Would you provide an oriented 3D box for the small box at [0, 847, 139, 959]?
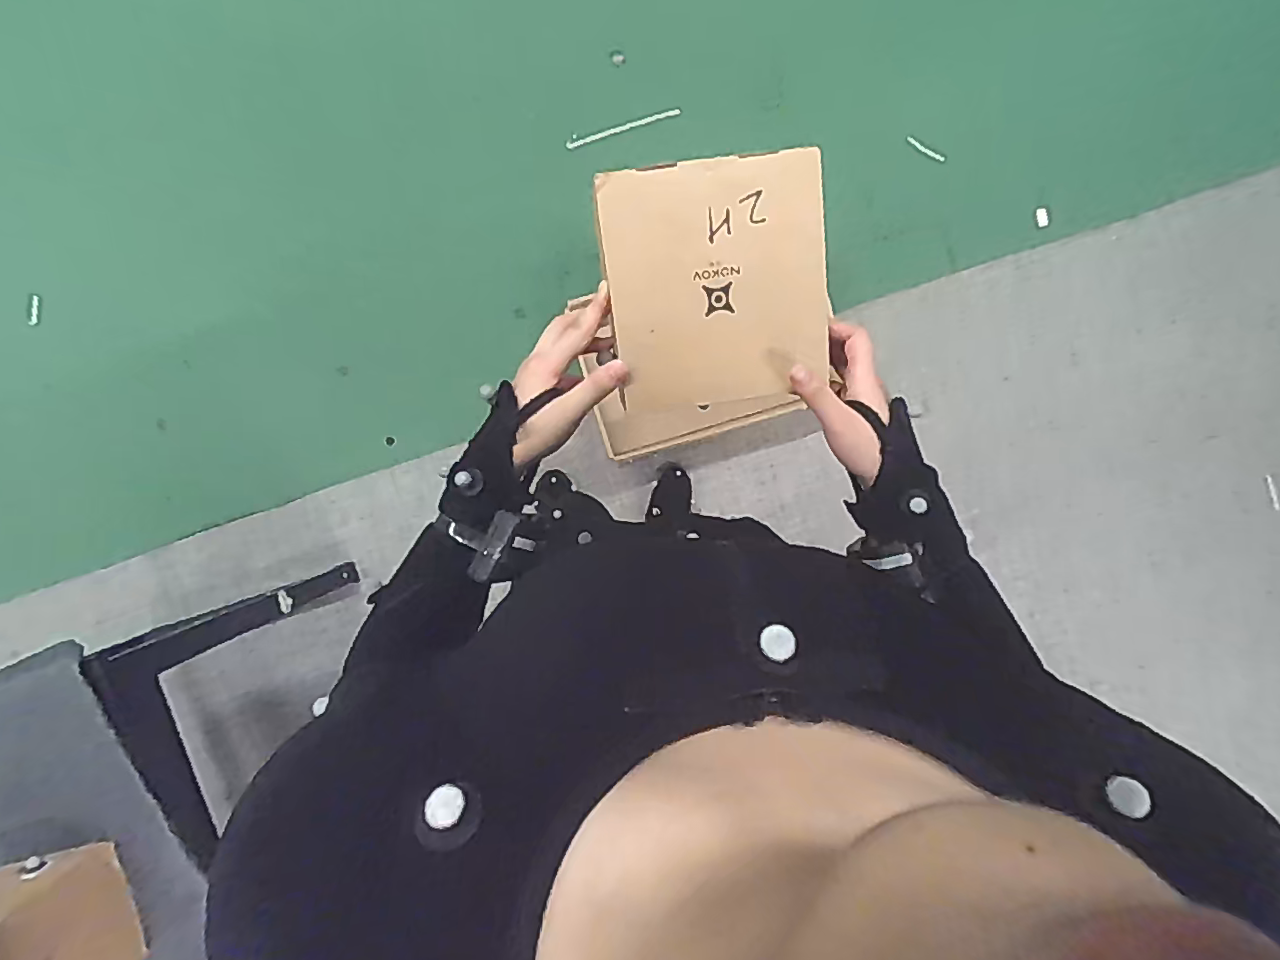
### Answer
[{"bbox_3d":[-0.774,0.601,0.658,0.168,0.176,0.179,-15,92,-1],"label":"small box"}]
